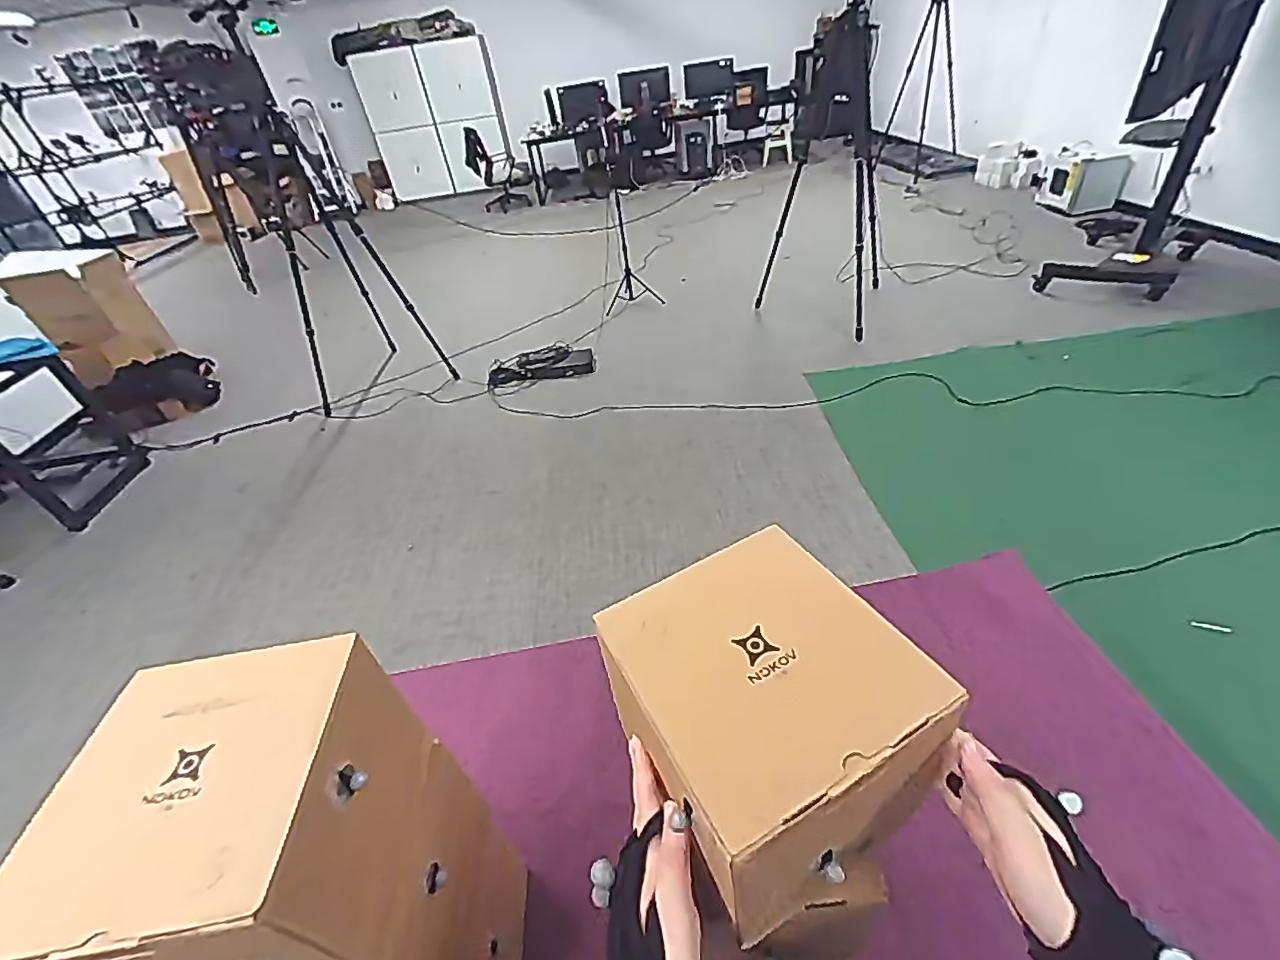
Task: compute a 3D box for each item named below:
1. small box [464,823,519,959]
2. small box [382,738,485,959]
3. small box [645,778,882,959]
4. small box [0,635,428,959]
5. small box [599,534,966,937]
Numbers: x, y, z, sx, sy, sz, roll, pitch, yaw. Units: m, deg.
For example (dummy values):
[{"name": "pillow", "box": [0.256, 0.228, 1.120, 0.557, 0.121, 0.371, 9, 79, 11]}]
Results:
[{"name": "small box", "box": [-0.236, 0.497, 0.584, 0.168, 0.176, 0.179, -7, 39, 1]}, {"name": "small box", "box": [-0.253, 0.365, 0.487, 0.168, 0.176, 0.179, -7, 38, 2]}, {"name": "small box", "box": [0.093, 0.310, 0.490, 0.168, 0.176, 0.179, -7, 38, 3]}, {"name": "small box", "box": [-0.270, 0.241, 0.383, 0.168, 0.176, 0.179, -8, 38, -1]}, {"name": "small box", "box": [0.085, 0.177, 0.395, 0.168, 0.176, 0.179, -22, 41, -17]}]
